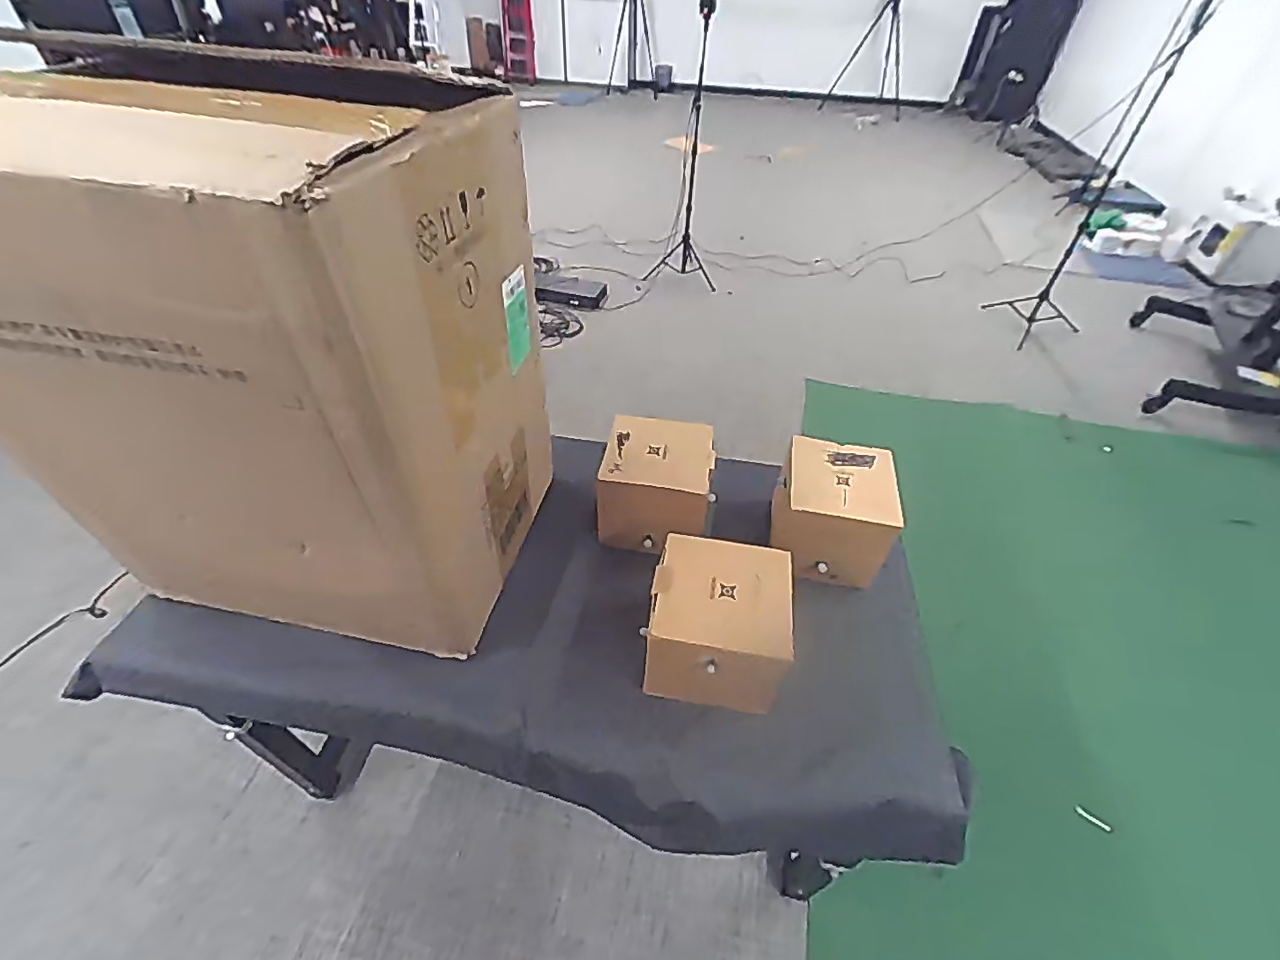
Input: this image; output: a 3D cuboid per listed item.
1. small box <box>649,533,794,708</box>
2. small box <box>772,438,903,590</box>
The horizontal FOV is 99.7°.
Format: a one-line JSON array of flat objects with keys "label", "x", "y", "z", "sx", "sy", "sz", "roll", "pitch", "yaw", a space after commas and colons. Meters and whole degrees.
[{"label": "small box", "x": 0.111, "y": 0.201, "z": 0.765, "sx": 0.179, "sy": 0.176, "sz": 0.168, "roll": 9, "pitch": 46, "yaw": 5}, {"label": "small box", "x": 0.323, "y": 0.057, "z": 0.920, "sx": 0.168, "sy": 0.176, "sz": 0.179, "roll": 10, "pitch": 46, "yaw": 8}]
